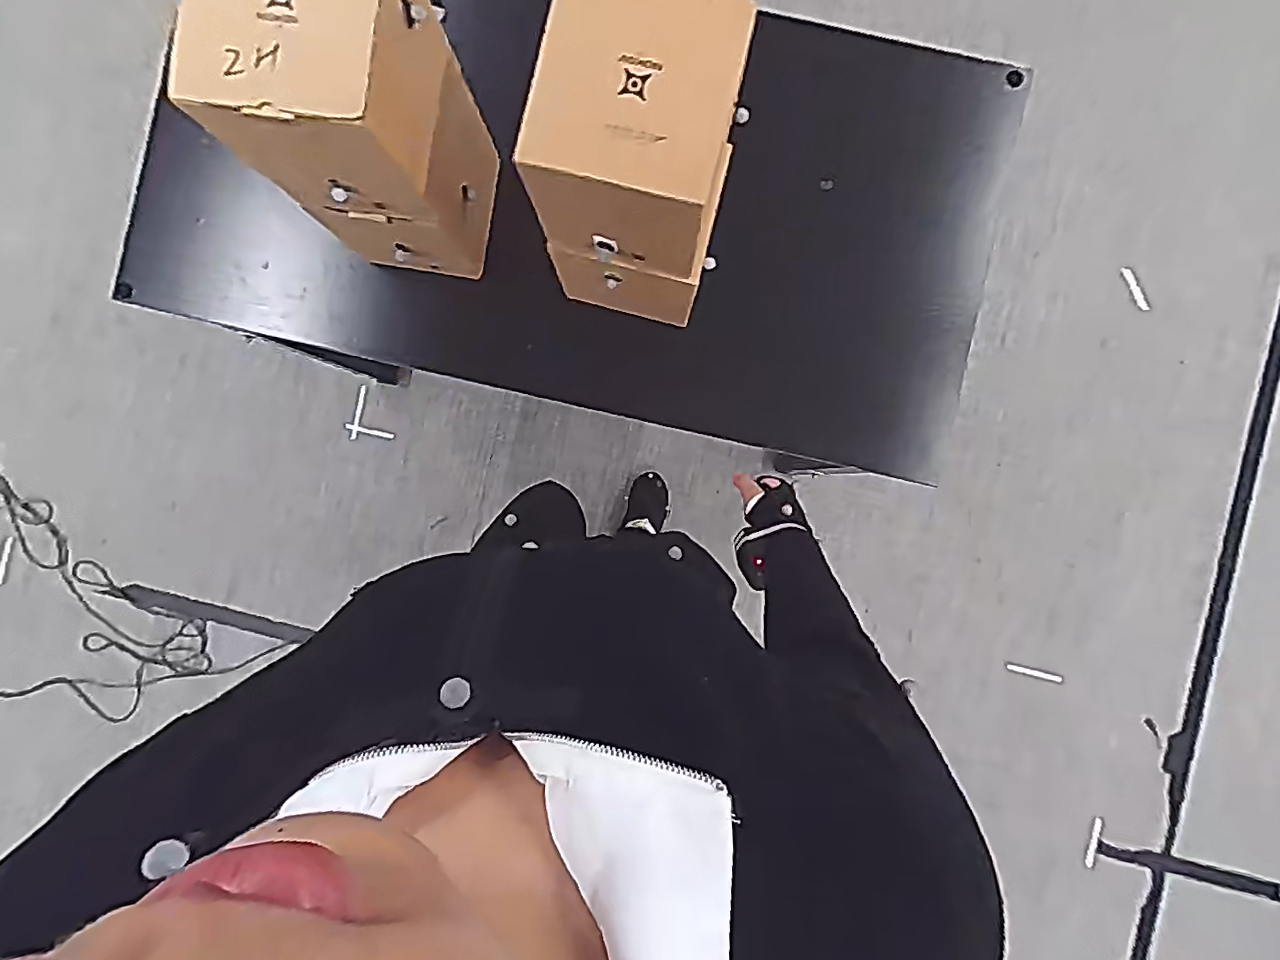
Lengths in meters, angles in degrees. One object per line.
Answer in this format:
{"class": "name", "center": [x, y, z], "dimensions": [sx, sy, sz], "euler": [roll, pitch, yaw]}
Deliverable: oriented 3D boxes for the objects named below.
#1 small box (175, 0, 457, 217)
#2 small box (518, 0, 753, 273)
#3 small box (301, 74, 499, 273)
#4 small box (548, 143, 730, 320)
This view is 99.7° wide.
{"class": "small box", "center": [-0.293, -0.391, 0.528], "dimensions": [0.168, 0.176, 0.179], "euler": [7, 90, 1]}
{"class": "small box", "center": [-0.002, -0.331, 0.528], "dimensions": [0.168, 0.176, 0.179], "euler": [14, 91, 2]}
{"class": "small box", "center": [-0.292, -0.387, 0.694], "dimensions": [0.168, 0.176, 0.179], "euler": [9, 90, 1]}
{"class": "small box", "center": [0.000, -0.321, 0.690], "dimensions": [0.179, 0.176, 0.168], "euler": [14, 90, 0]}
